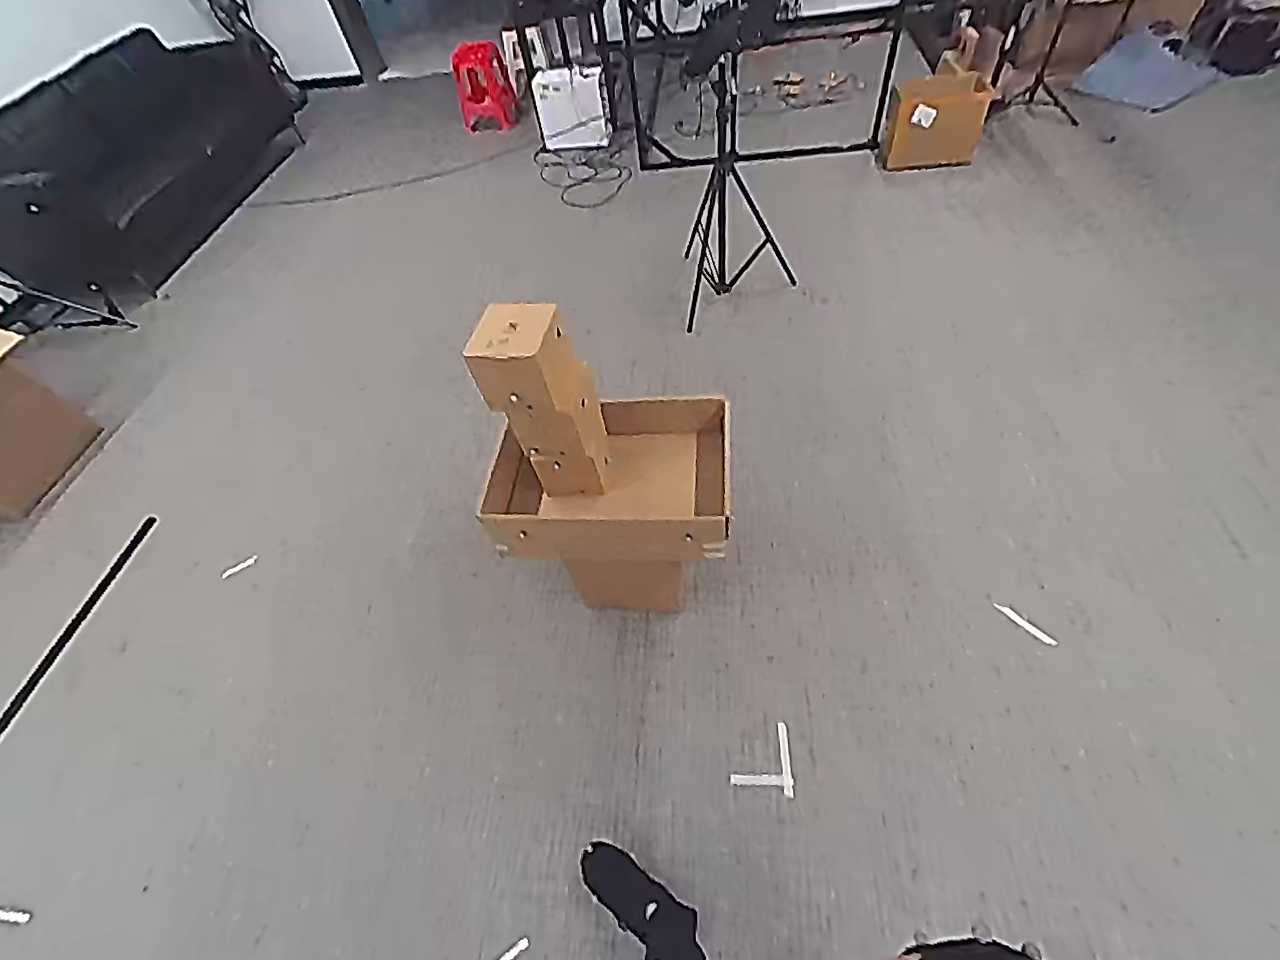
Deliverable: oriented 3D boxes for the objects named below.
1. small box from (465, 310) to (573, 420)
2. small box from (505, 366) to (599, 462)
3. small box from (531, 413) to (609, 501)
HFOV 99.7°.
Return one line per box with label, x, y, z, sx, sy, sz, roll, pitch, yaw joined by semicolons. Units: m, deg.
small box;-0.259;-0.258;1.210;0.168;0.176;0.179;3;54;12
small box;-0.207;-0.160;1.335;0.168;0.176;0.179;3;53;11
small box;-0.181;-0.060;1.464;0.168;0.176;0.179;-3;52;8
